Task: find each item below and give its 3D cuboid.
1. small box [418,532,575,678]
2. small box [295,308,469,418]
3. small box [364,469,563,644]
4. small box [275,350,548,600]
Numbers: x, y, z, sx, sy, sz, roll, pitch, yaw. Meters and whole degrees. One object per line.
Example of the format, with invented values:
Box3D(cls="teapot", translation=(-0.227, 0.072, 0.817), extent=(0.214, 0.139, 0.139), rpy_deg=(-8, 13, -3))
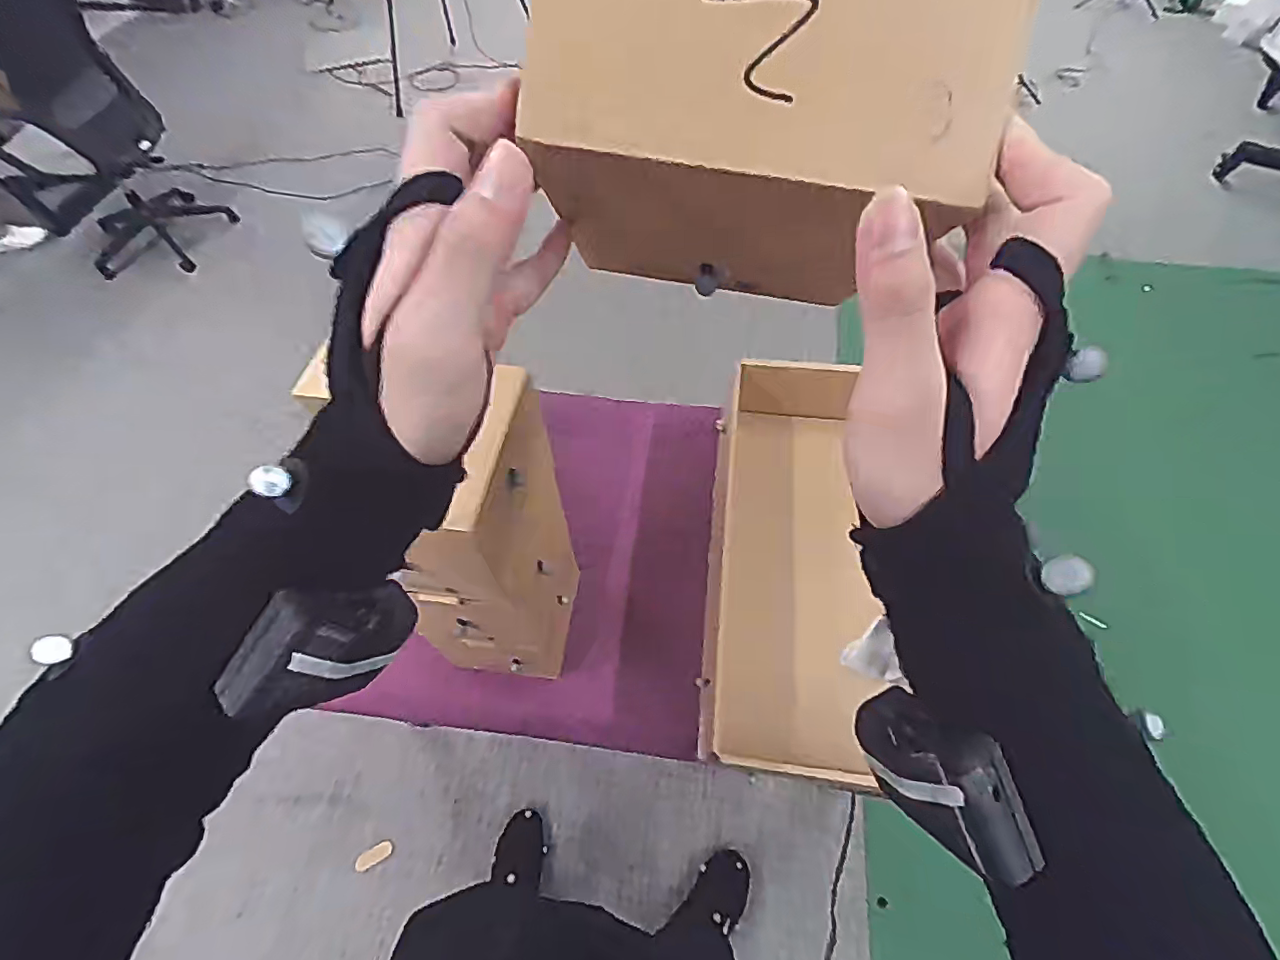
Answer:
Box3D(cls="small box", translation=(-0.197, 0.182, 0.806), extent=(0.168, 0.176, 0.179), rpy_deg=(7, 57, 5))
Box3D(cls="small box", translation=(-0.360, -0.128, 0.812), extent=(0.168, 0.176, 0.179), rpy_deg=(8, 59, 7))
Box3D(cls="small box", translation=(-0.198, 0.091, 0.670), extent=(0.168, 0.176, 0.179), rpy_deg=(7, 58, 4))
Box3D(cls="small box", translation=(-0.196, 0.002, 0.531), extent=(0.168, 0.176, 0.179), rpy_deg=(8, 57, 5))
